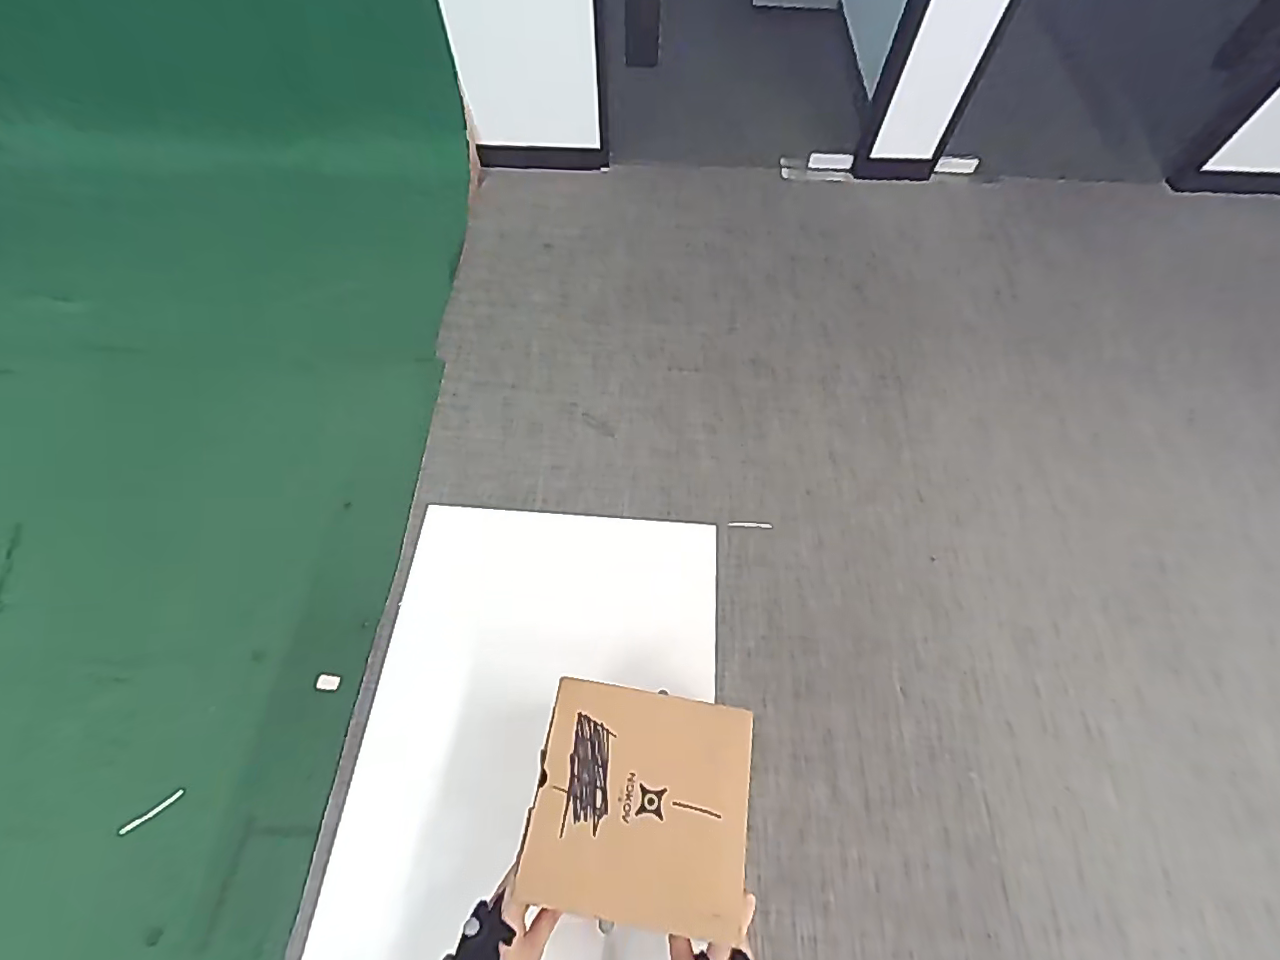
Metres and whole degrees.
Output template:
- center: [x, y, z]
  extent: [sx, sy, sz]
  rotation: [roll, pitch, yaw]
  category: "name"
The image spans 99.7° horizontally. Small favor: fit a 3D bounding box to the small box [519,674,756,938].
- center: [0.004, 0.300, 0.517]
  extent: [0.179, 0.176, 0.168]
  rotation: [9, 60, 4]
  category: "small box"
